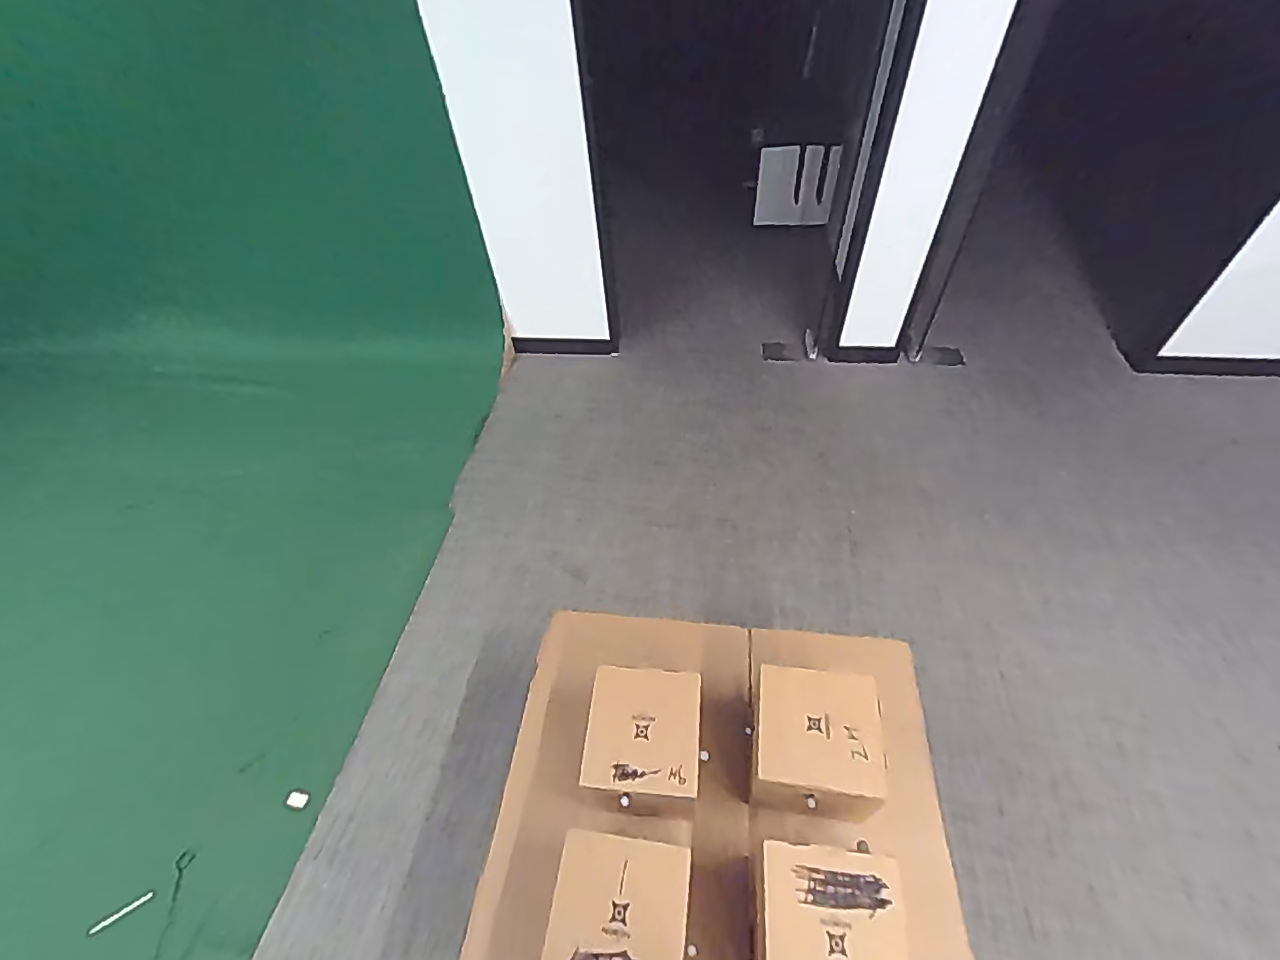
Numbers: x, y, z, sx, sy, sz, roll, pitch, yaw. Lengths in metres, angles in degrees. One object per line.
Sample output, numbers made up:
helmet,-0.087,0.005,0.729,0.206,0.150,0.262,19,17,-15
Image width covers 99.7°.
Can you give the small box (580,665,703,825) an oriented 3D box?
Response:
small box,0.012,0.414,0.847,0.168,0.176,0.179,1,47,8
